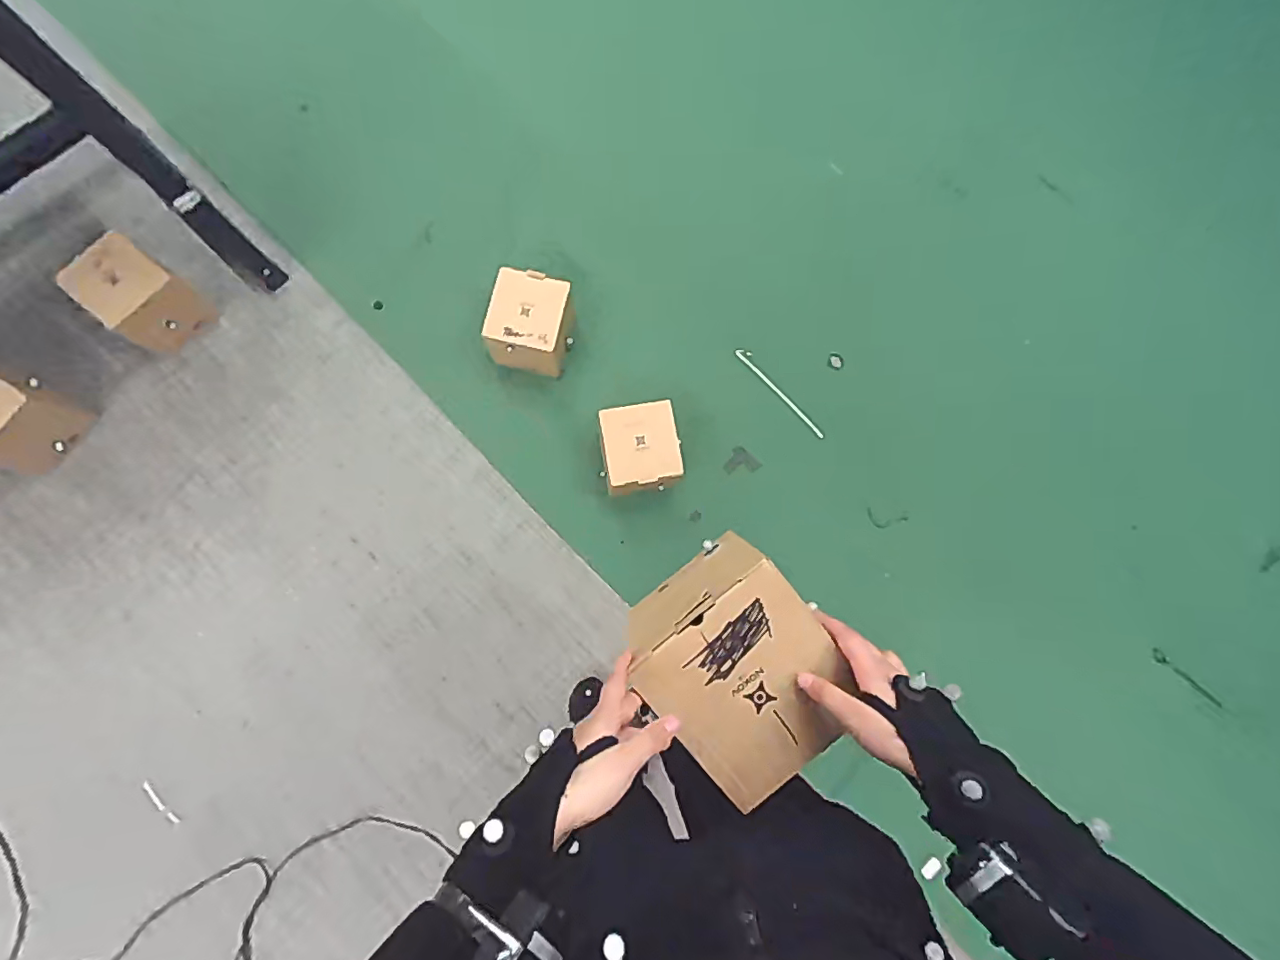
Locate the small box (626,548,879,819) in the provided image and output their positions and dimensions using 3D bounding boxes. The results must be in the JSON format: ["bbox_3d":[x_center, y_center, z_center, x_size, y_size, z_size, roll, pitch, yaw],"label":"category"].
[{"bbox_3d":[0.097,0.187,0.561,0.168,0.176,0.179,-39,95,1],"label":"small box"}]

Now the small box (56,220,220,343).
[{"bbox_3d":[-1.120,-0.436,1.226,0.179,0.176,0.168,41,80,2],"label":"small box"}]

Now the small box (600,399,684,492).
[{"bbox_3d":[-0.001,-0.073,1.261,0.168,0.176,0.179,-9,81,-7],"label":"small box"}]

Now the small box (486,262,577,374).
[{"bbox_3d":[-0.251,-0.379,1.288,0.168,0.176,0.179,14,80,-2],"label":"small box"}]
